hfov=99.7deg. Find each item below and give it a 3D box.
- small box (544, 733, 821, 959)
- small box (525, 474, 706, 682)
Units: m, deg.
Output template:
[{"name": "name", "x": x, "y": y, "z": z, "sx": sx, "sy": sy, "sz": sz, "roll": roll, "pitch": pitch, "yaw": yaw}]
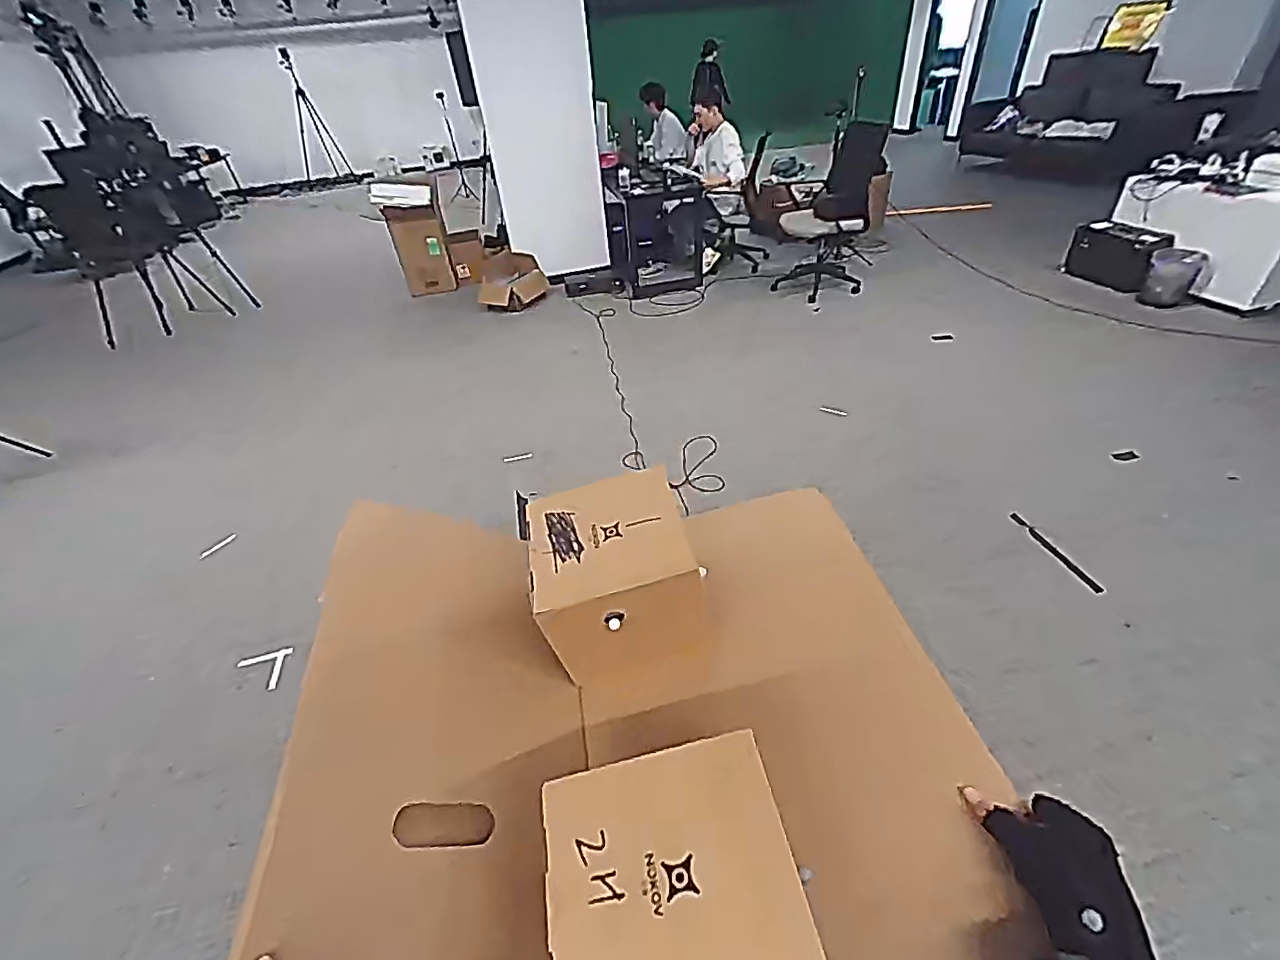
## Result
[{"name": "small box", "x": 0.033, "y": 0.336, "z": 0.441, "sx": 0.179, "sy": 0.176, "sz": 0.168, "roll": -15, "pitch": 44, "yaw": 1}, {"name": "small box", "x": -0.029, "y": 0.125, "z": 0.671, "sx": 0.179, "sy": 0.176, "sz": 0.168, "roll": -16, "pitch": 44, "yaw": -1}]
